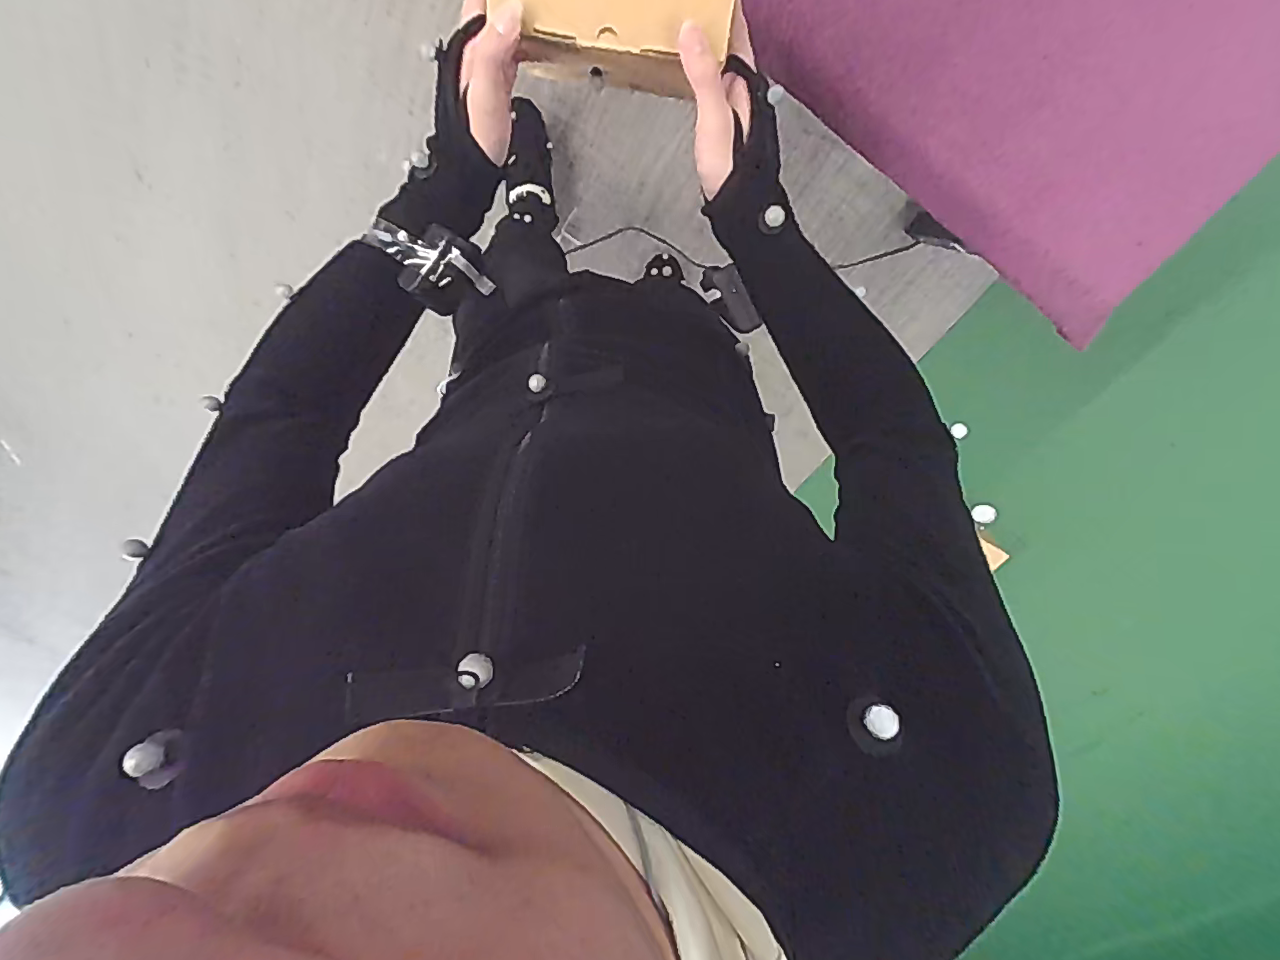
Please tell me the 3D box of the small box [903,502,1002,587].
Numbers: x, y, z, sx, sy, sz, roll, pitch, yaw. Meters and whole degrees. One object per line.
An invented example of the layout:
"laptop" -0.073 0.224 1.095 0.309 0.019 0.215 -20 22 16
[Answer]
"small box" 0.958 0.193 1.677 0.179 0.176 0.168 29 117 -12

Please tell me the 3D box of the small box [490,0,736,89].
"small box" -0.011 -0.416 0.398 0.168 0.176 0.179 6 120 -5
